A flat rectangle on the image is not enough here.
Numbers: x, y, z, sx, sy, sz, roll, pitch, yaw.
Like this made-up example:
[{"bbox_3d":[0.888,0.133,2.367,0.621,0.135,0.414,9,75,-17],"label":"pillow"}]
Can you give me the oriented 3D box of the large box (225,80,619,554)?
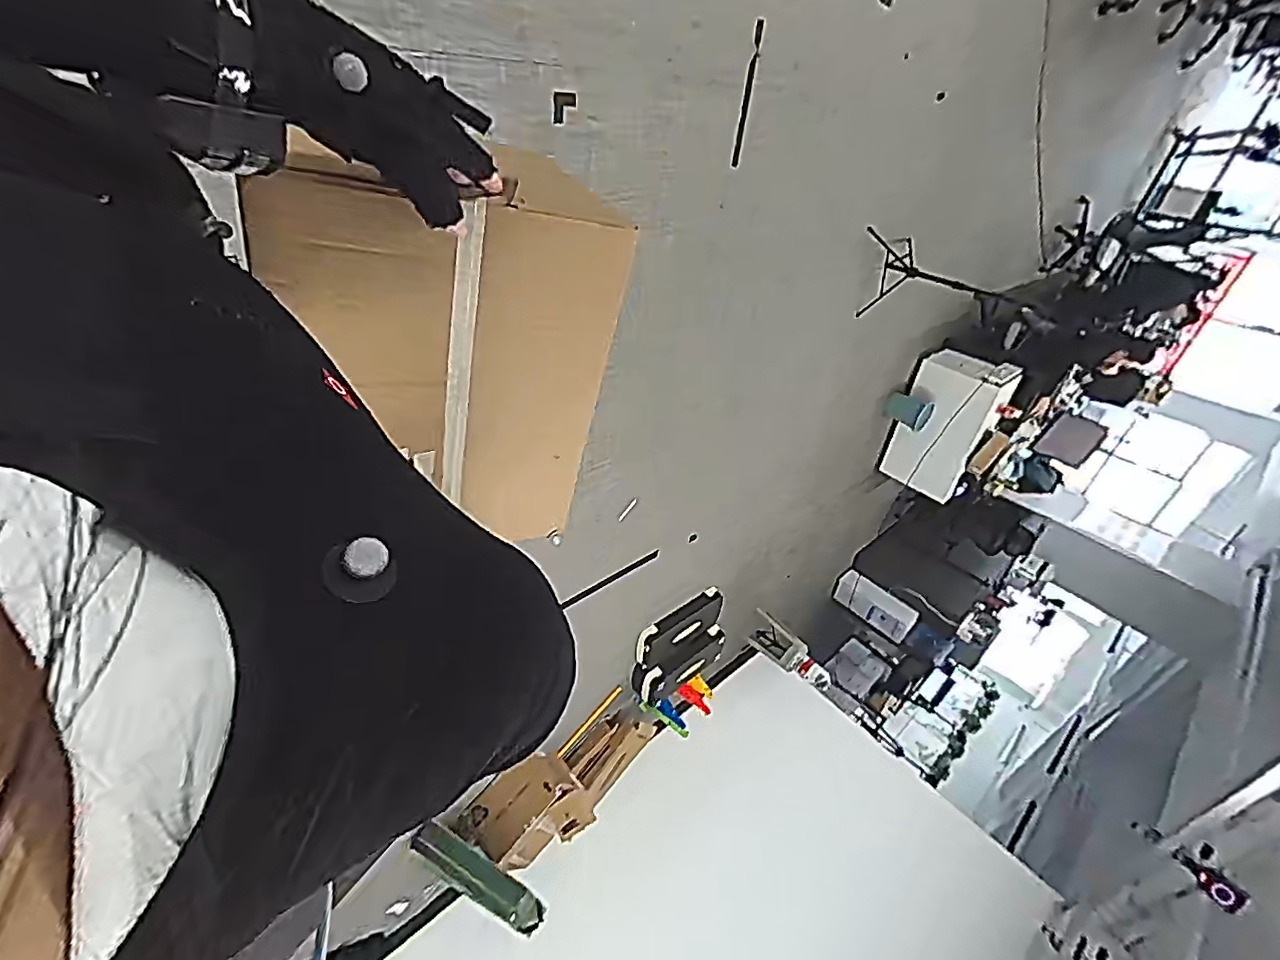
[{"bbox_3d":[-0.266,-0.179,0.646,0.320,0.320,0.408,-5,132,-31],"label":"large box"}]
